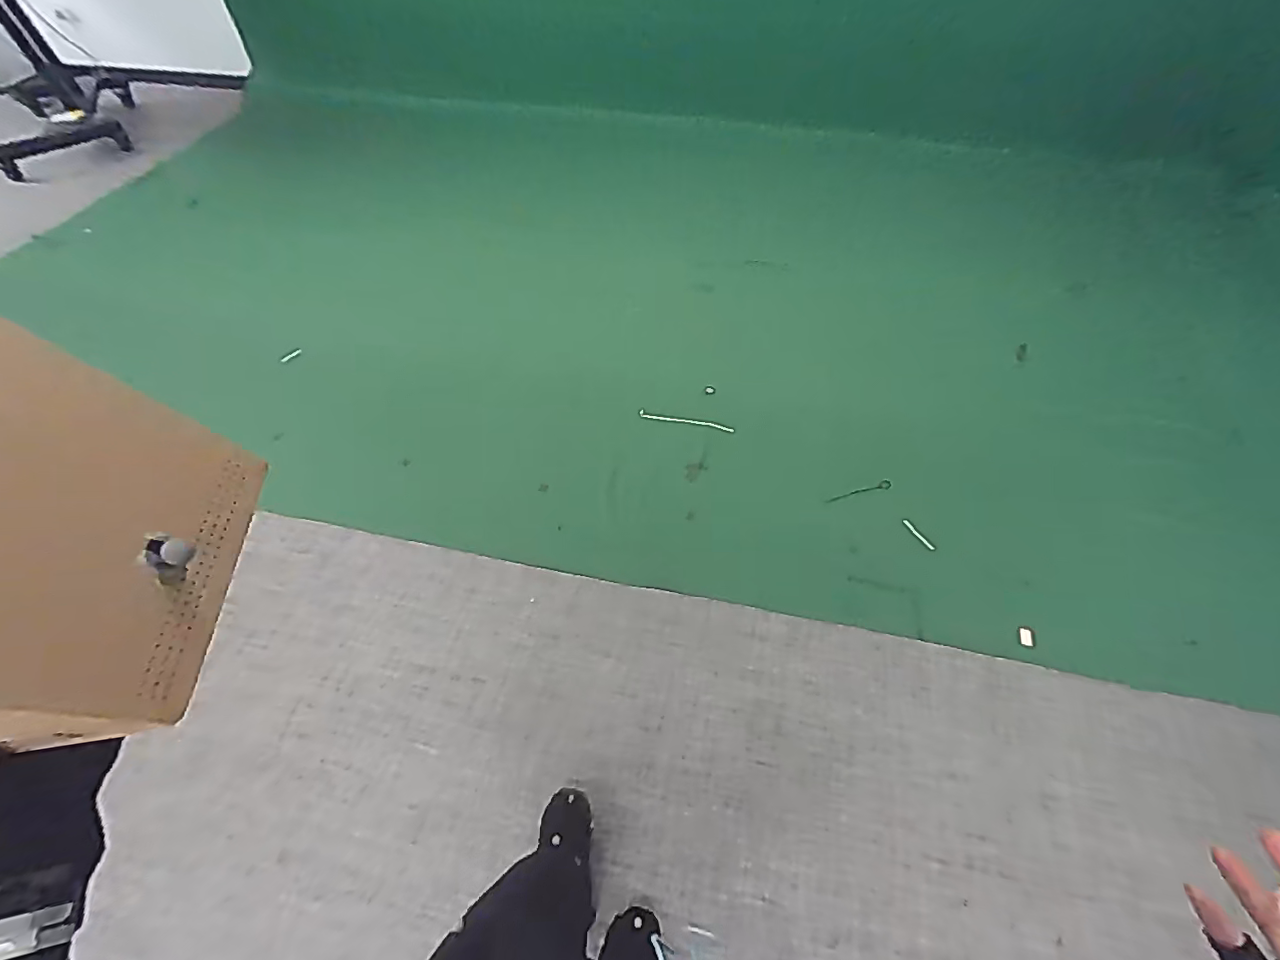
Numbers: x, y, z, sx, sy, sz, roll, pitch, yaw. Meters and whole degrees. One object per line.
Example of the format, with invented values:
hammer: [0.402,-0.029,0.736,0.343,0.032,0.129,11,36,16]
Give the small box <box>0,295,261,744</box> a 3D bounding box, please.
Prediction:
small box: [-0.355,0.035,0.293,0.168,0.176,0.179,-13,58,15]
